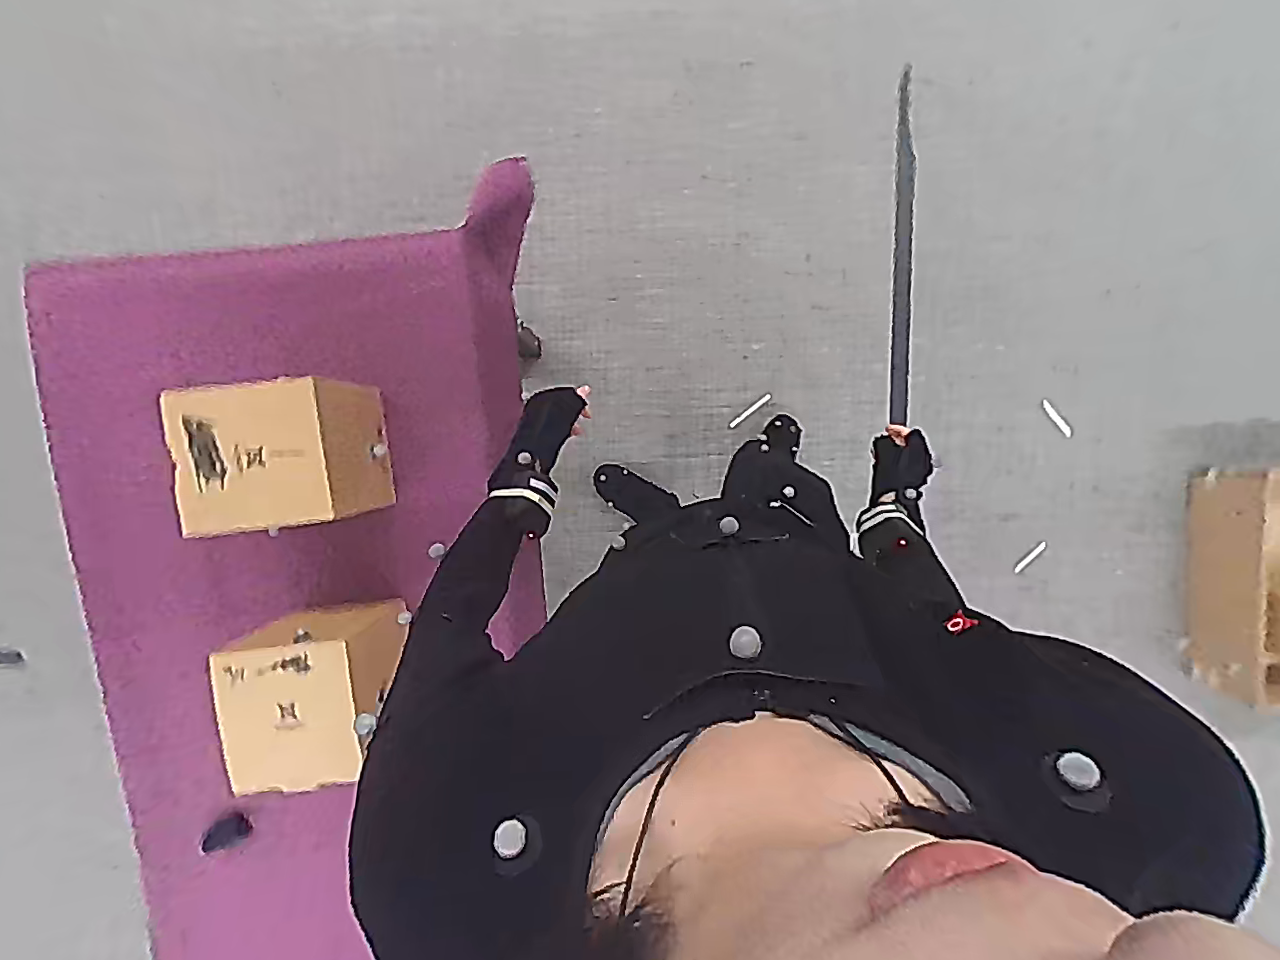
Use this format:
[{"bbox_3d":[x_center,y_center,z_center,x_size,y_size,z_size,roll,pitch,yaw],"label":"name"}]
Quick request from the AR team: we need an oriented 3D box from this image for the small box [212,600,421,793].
[{"bbox_3d":[-0.411,0.275,0.718,0.168,0.176,0.179,-7,94,0],"label":"small box"}]

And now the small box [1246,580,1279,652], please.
[{"bbox_3d":[1.755,0.367,1.414,0.168,0.176,0.179,-4,92,0],"label":"small box"}]

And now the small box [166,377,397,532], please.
[{"bbox_3d":[-0.444,-0.033,0.697,0.179,0.176,0.168,-7,94,0],"label":"small box"}]
